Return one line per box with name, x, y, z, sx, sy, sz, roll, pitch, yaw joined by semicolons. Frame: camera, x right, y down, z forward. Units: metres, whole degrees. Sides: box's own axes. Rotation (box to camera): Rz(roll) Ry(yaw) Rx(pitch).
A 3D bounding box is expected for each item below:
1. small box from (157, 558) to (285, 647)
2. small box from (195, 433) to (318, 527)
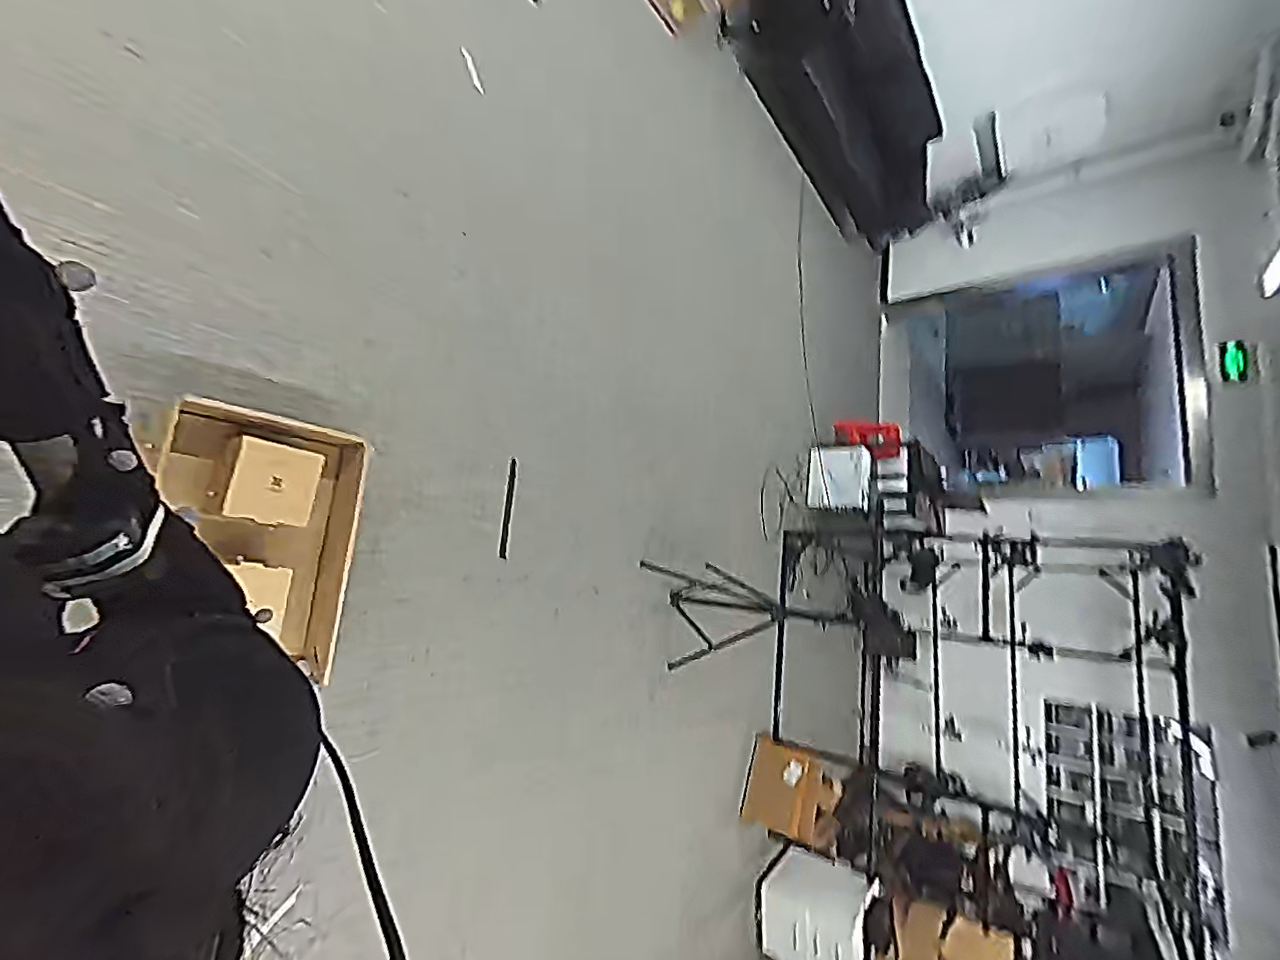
small box;-0.912;0.265;1.177;0.168;0.176;0.179;20;70;-49
small box;-0.876;0.004;1.232;0.168;0.176;0.179;23;71;-50
